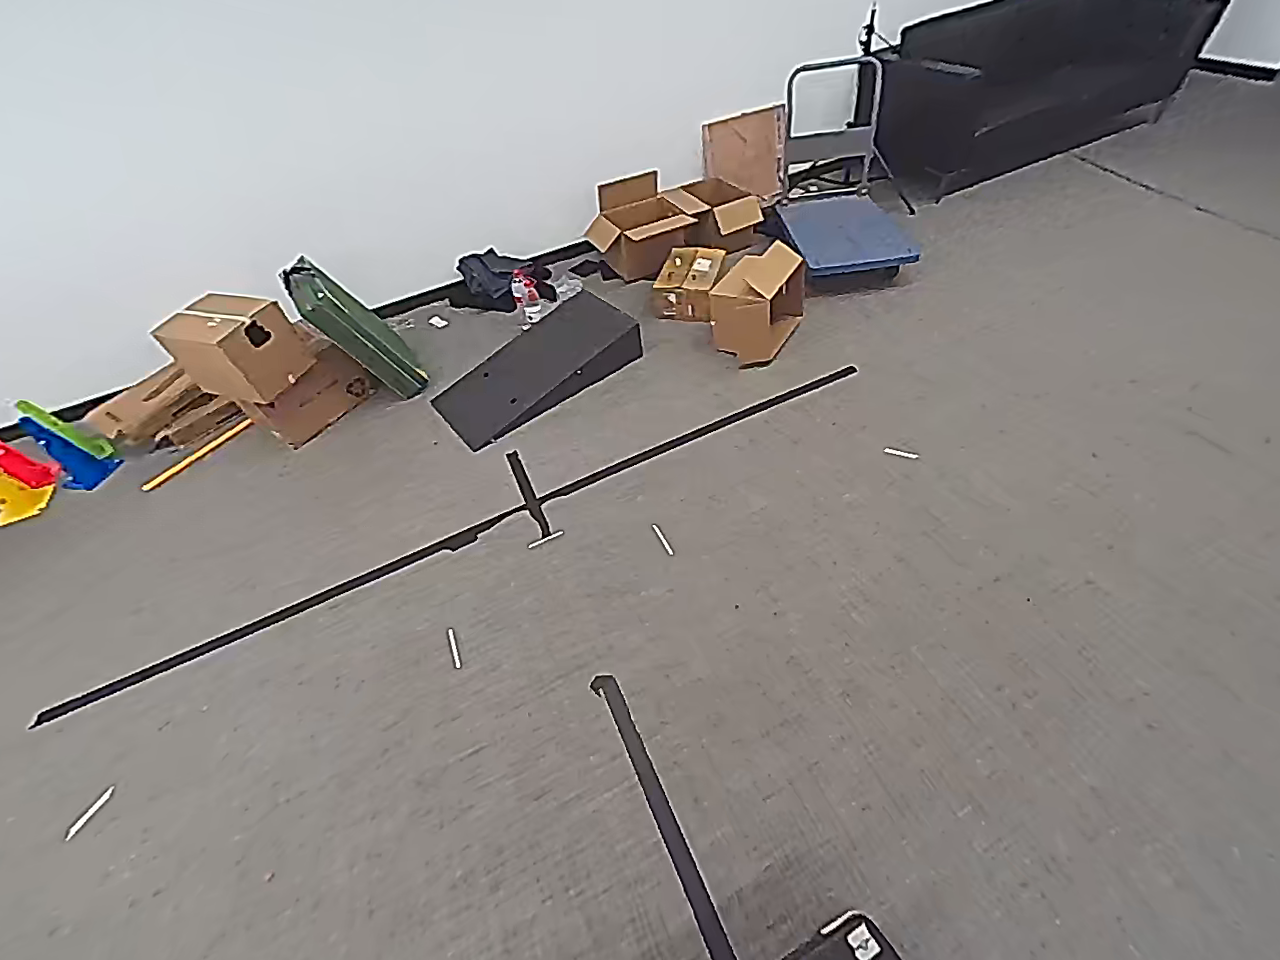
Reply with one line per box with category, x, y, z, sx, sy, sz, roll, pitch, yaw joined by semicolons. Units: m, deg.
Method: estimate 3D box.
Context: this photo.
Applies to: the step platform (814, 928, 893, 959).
step platform;0.243;1.164;0.994;0.684;0.204;0.286;-23;50;-13
